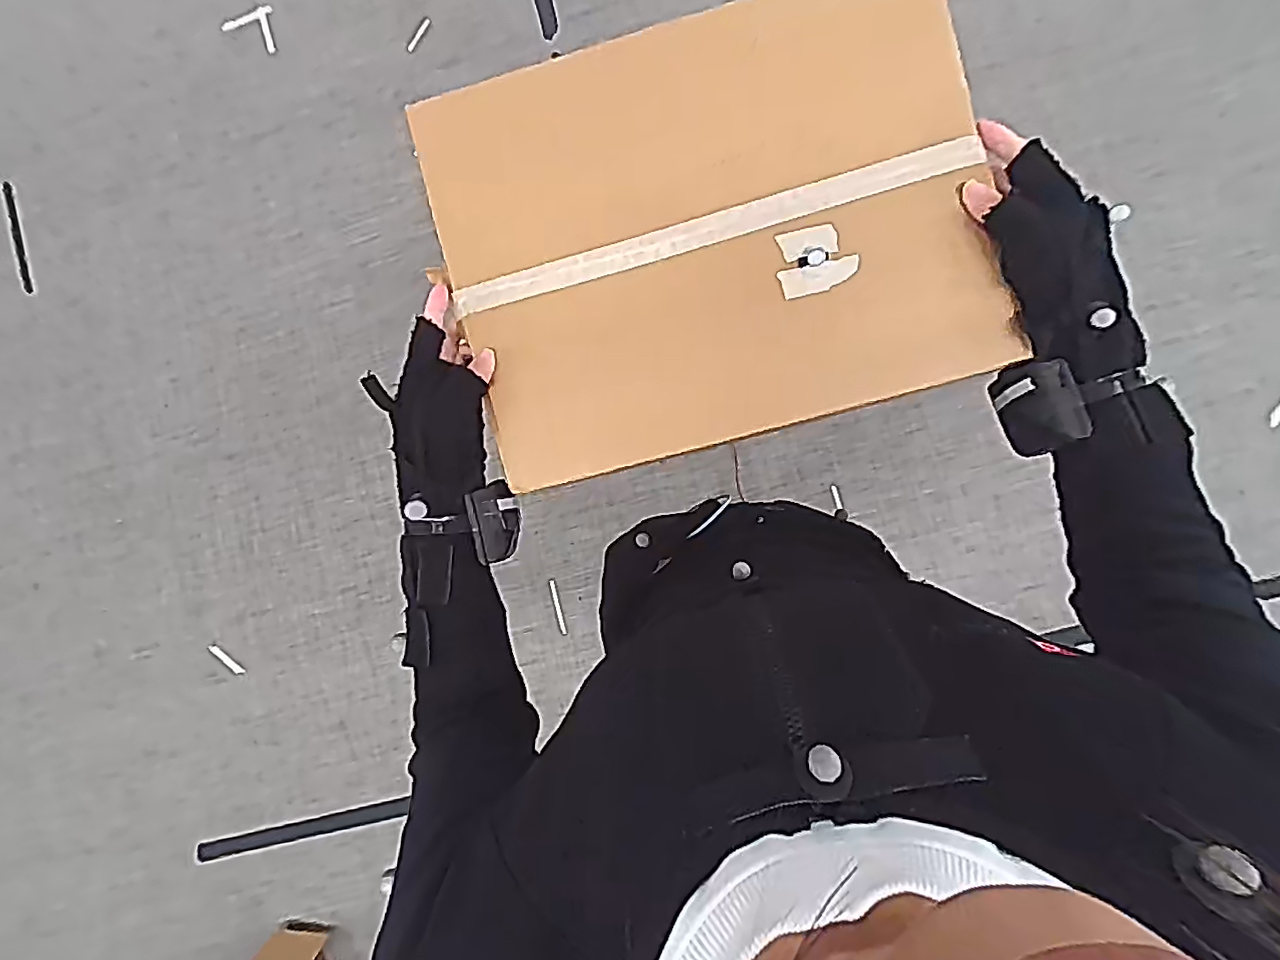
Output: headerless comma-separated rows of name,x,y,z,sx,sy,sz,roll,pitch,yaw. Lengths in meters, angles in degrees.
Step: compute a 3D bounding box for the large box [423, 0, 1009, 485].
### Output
large box,0.061,-0.199,0.570,0.408,0.320,0.320,-15,92,3
